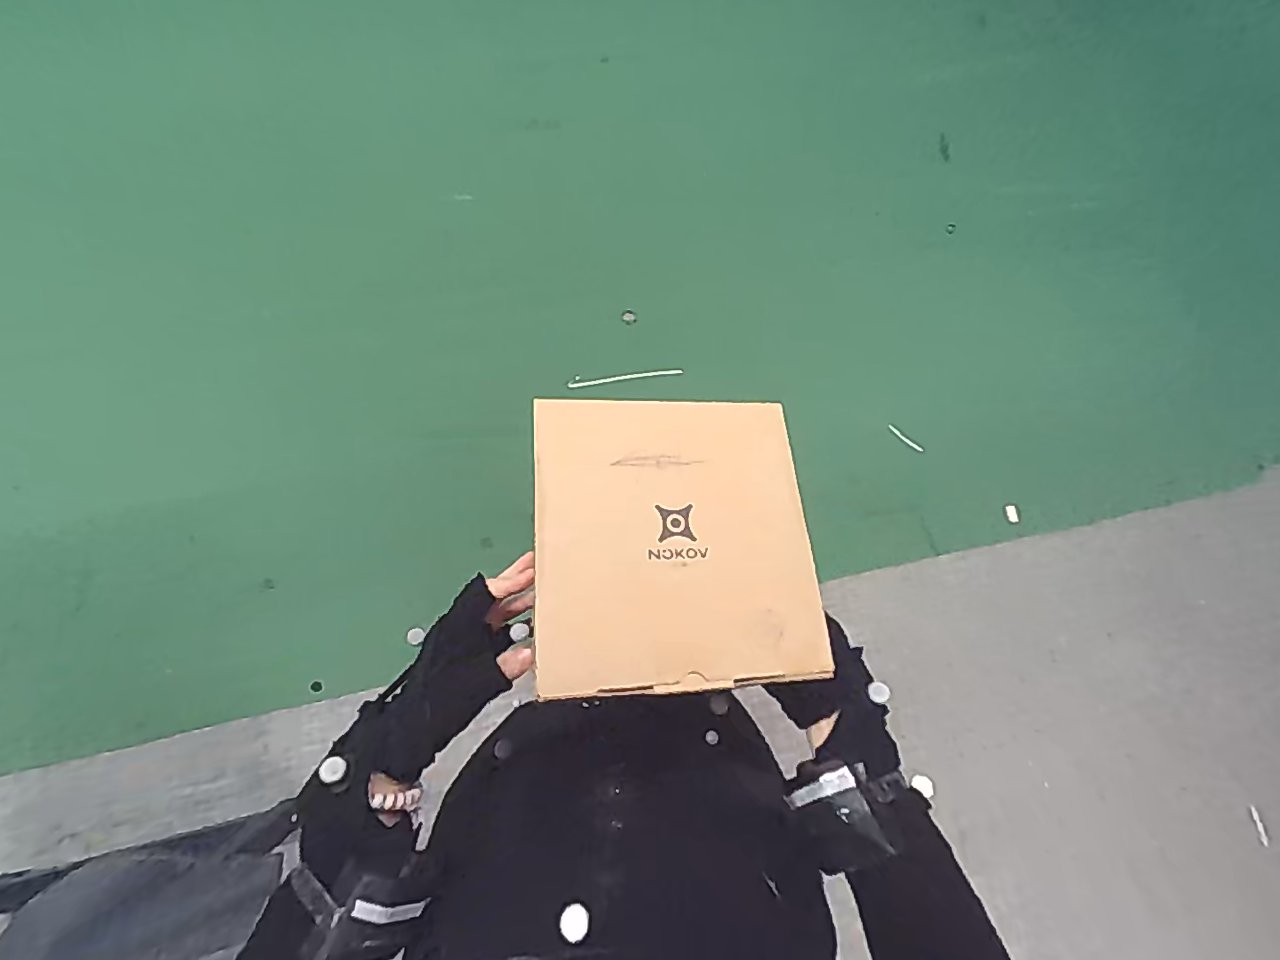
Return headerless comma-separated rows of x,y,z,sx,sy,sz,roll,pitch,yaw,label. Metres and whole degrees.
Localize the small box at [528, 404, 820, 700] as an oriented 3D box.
0.005,0.061,0.397,0.168,0.176,0.179,-1,68,-11,small box
